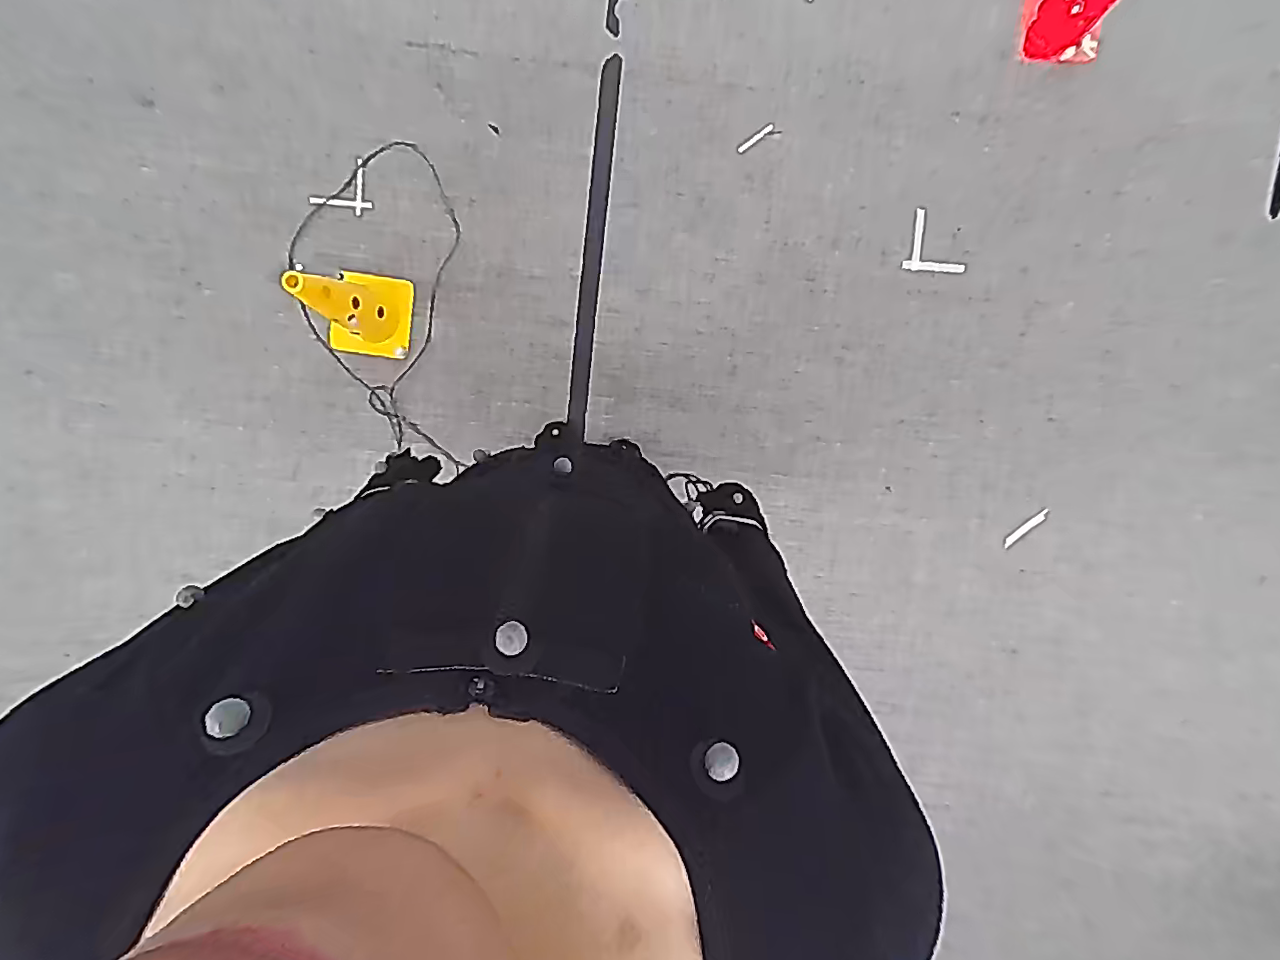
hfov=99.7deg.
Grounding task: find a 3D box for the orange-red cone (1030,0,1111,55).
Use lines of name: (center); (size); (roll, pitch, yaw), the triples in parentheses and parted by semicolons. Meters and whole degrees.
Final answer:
orange-red cone: (1.104, -1.182, 1.208); (0.198, 0.360, 0.199); (1, 95, -3)
